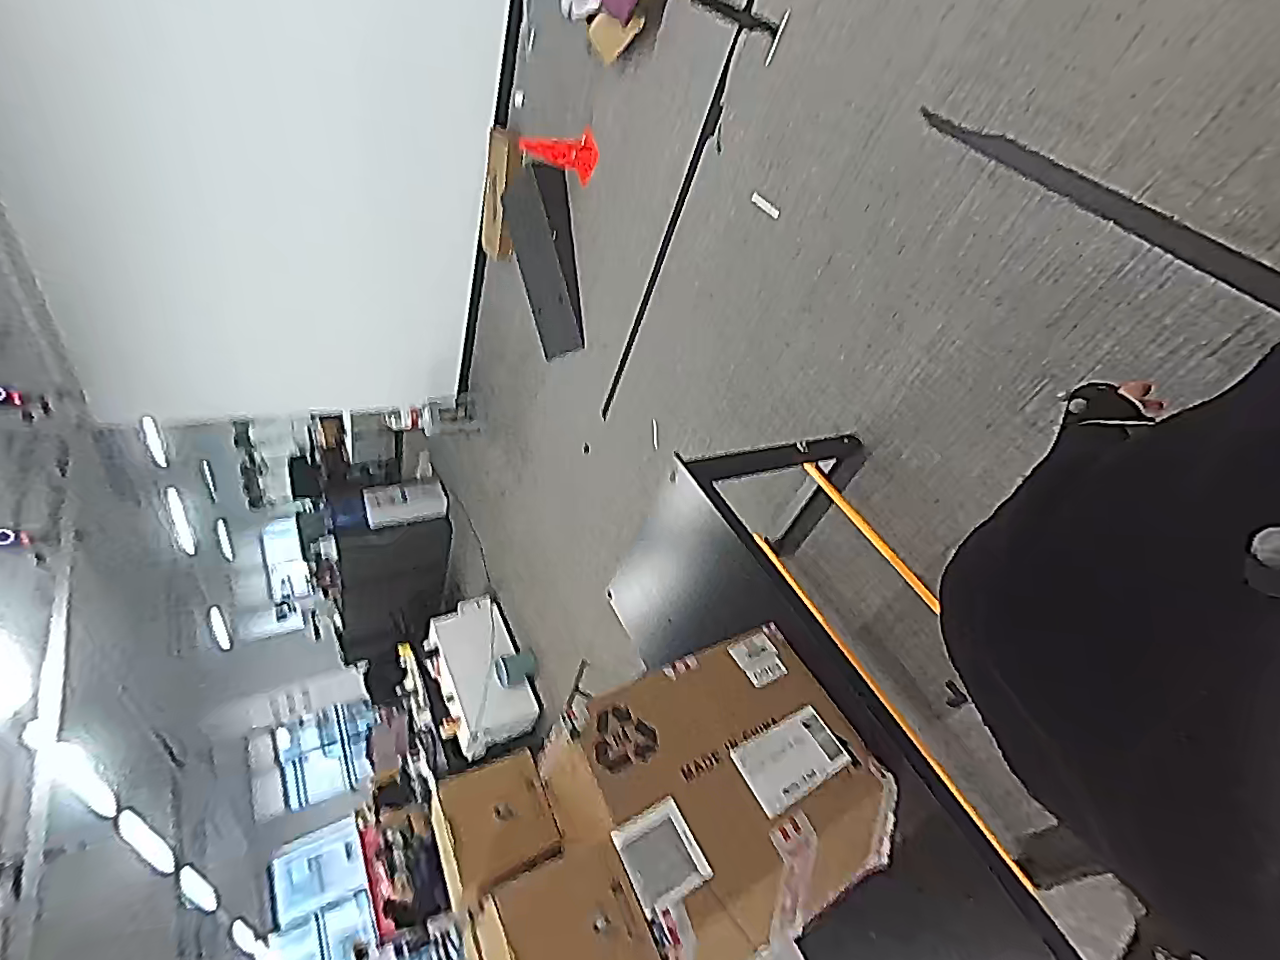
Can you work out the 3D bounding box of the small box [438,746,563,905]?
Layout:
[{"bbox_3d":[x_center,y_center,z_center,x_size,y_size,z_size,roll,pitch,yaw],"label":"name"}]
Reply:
[{"bbox_3d":[-0.252,0.613,0.973,0.168,0.176,0.179,56,140,36],"label":"small box"}]

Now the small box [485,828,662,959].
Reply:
[{"bbox_3d":[-0.092,0.607,0.719,0.168,0.176,0.179,55,138,36],"label":"small box"}]

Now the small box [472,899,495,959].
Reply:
[{"bbox_3d":[-0.160,0.758,0.871,0.168,0.176,0.179,51,138,38],"label":"small box"}]
